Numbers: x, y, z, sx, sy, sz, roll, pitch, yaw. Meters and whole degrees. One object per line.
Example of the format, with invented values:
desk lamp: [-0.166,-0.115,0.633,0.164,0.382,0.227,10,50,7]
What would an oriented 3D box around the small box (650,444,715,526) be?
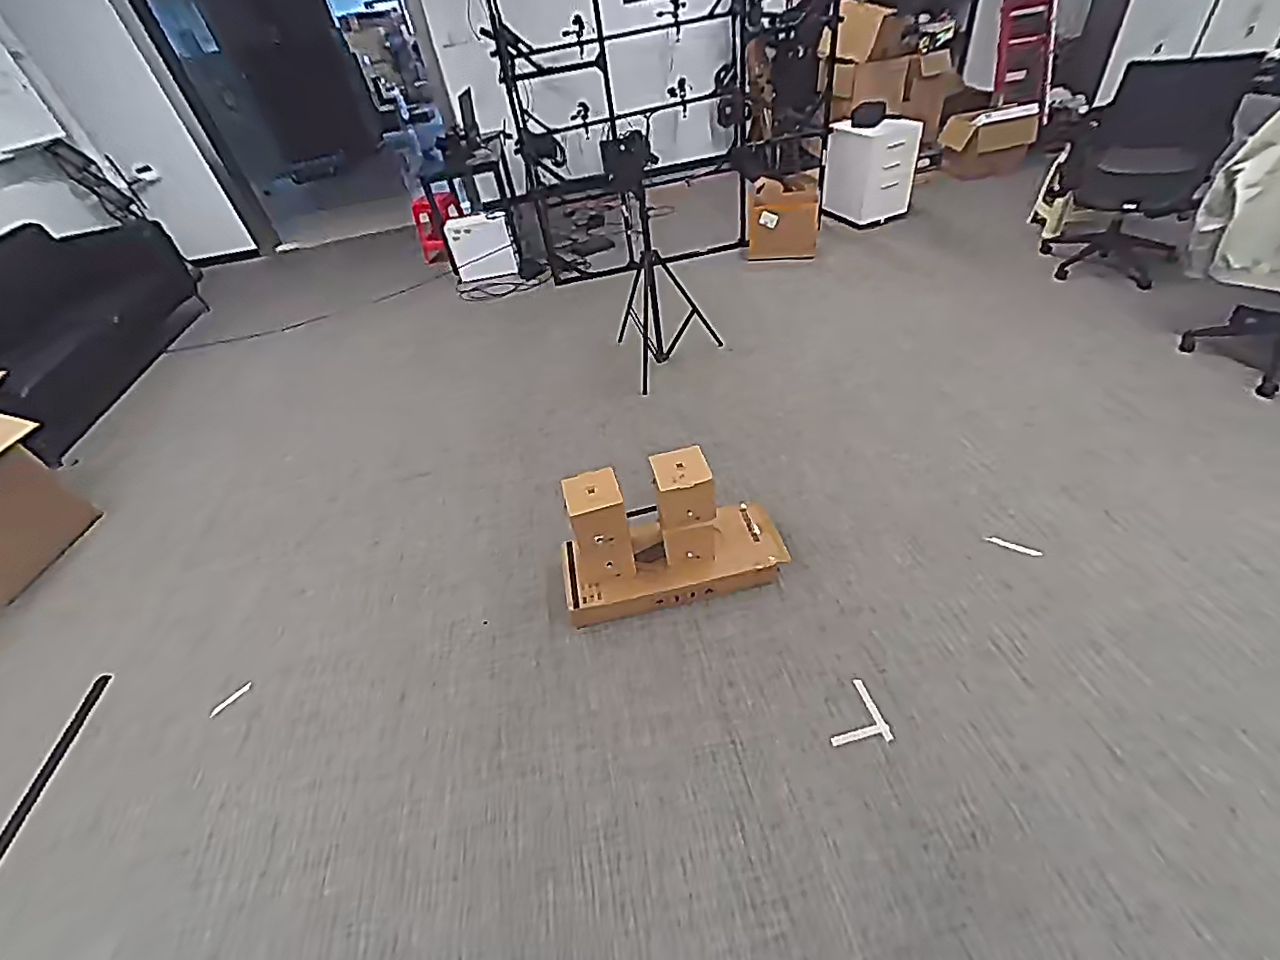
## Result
small box: [0.134,0.017,1.703,0.168,0.176,0.179,-13,42,-3]

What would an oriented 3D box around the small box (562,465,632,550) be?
small box: [-0.133,0.086,1.681,0.168,0.176,0.179,-17,43,-6]

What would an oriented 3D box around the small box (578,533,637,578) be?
small box: [-0.109,0.206,1.790,0.168,0.176,0.179,-12,42,-1]

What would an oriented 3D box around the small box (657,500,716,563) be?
small box: [0.153,0.149,1.802,0.168,0.176,0.179,-11,43,0]
